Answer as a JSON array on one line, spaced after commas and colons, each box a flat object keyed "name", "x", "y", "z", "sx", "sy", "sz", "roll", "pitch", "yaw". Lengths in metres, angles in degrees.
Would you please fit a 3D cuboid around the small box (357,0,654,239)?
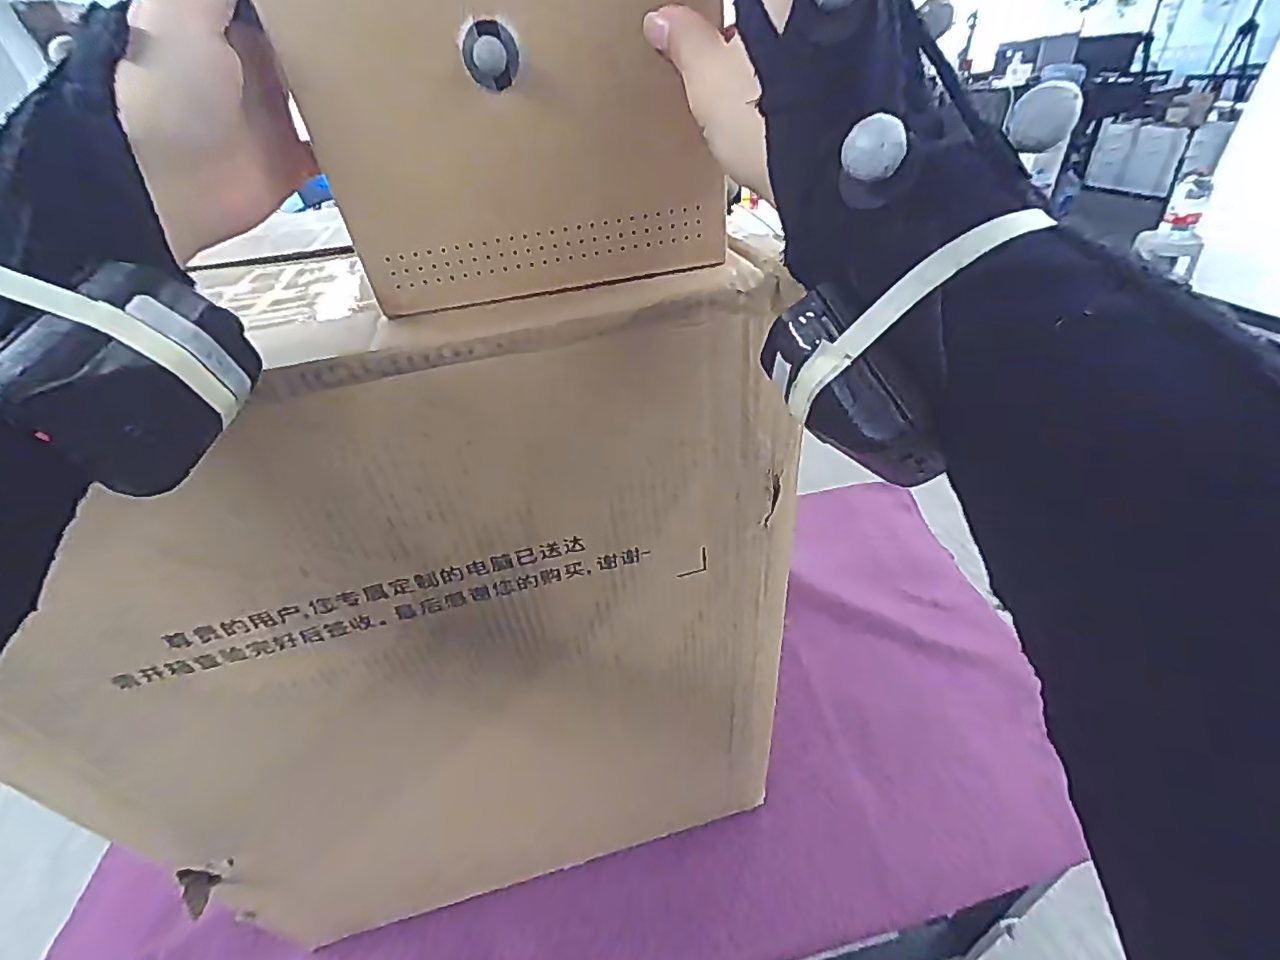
[{"name": "small box", "x": -0.096, "y": -0.300, "z": 0.424, "sx": 0.179, "sy": 0.176, "sz": 0.168, "roll": -13, "pitch": 36, "yaw": -7}]
